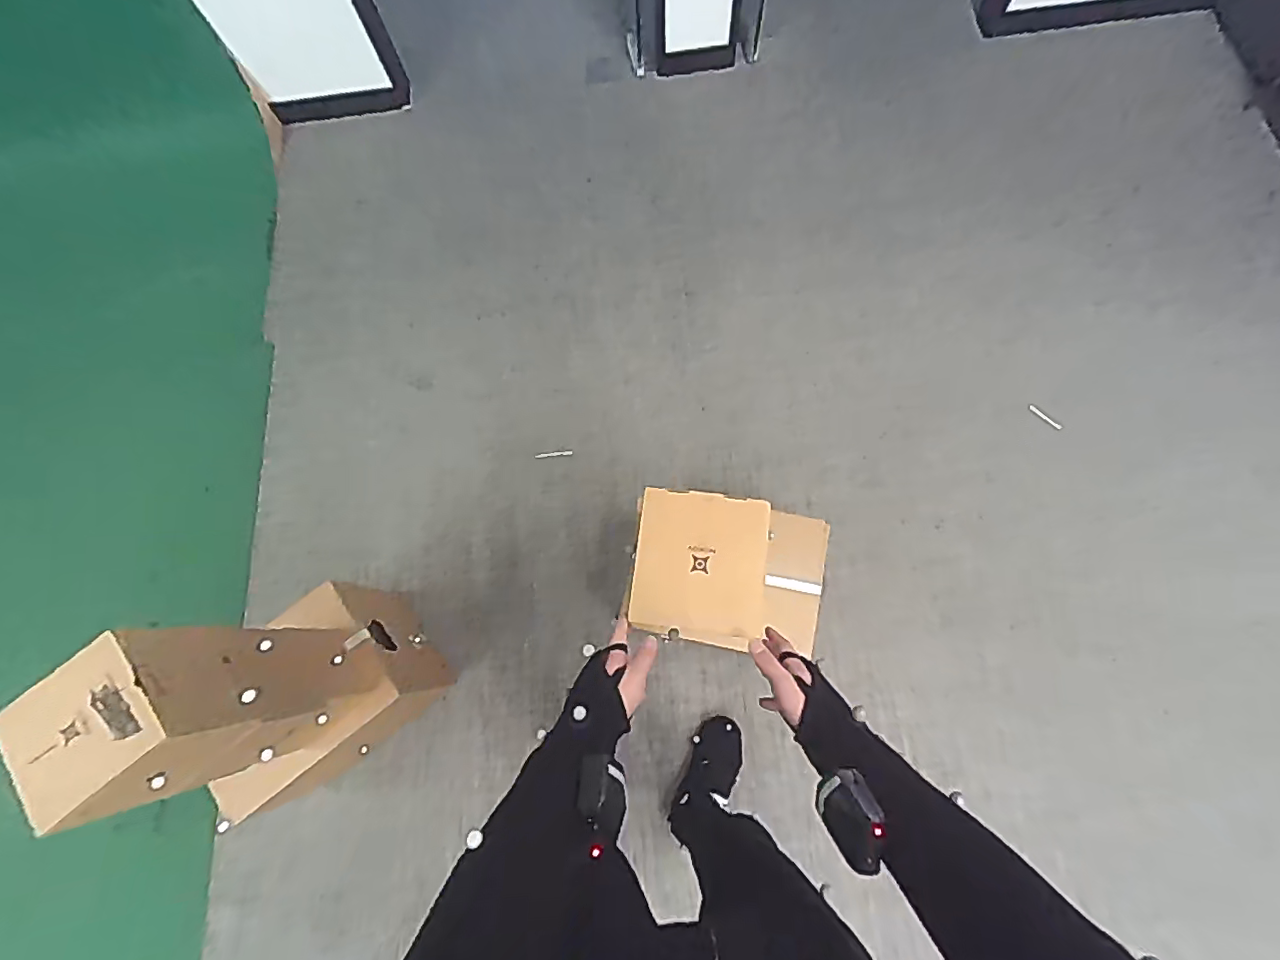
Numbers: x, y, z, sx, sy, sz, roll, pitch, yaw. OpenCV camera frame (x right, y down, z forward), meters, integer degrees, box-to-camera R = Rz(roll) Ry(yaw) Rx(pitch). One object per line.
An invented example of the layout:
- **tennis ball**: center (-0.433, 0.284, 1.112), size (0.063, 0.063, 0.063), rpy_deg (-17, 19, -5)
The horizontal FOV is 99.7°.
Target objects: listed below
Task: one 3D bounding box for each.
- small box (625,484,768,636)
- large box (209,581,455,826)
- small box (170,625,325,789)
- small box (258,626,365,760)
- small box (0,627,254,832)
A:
- **small box**: center (0.078, 0.118, 0.755), size (0.168, 0.176, 0.179), rpy_deg (6, 74, 4)
- **large box**: center (-0.731, 0.495, 1.277), size (0.408, 0.320, 0.320), rpy_deg (-38, 74, -8)
- **small box**: center (-0.668, 0.361, 0.887), size (0.168, 0.176, 0.179), rpy_deg (-37, 76, -7)
- **small box**: center (-0.667, 0.402, 1.044), size (0.179, 0.176, 0.168), rpy_deg (-39, 75, -8)
- **small box**: center (-0.671, 0.316, 0.730), size (0.179, 0.176, 0.168), rpy_deg (-39, 75, -7)
